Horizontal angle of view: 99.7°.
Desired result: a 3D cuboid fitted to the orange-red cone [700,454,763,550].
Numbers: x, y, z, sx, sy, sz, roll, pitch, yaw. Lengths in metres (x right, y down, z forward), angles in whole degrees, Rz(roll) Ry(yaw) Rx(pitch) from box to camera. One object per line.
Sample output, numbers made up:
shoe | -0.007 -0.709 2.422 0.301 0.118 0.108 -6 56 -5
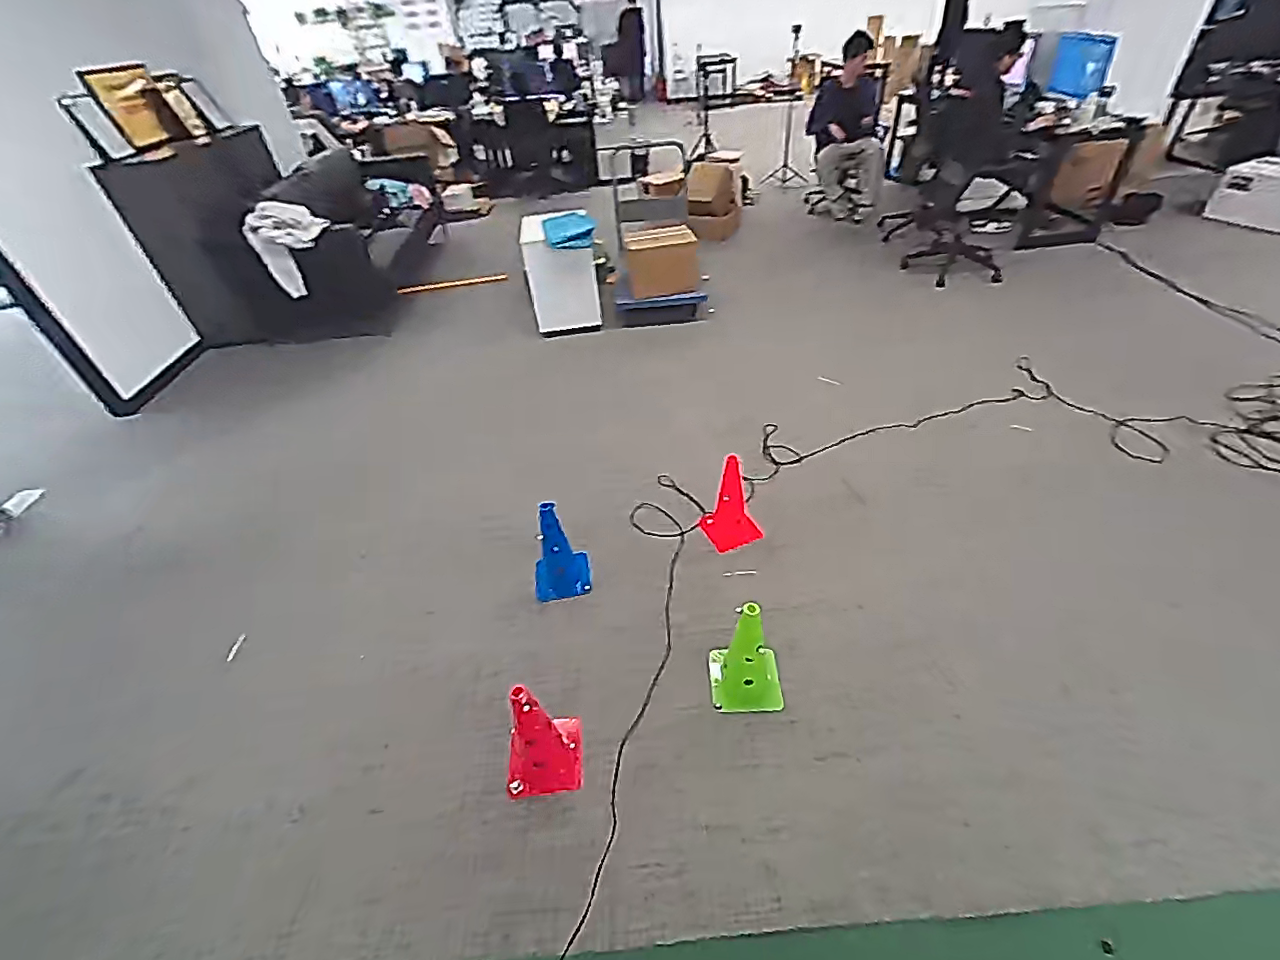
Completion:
orange-red cone | 0.339 0.054 1.978 0.198 0.360 0.199 -18 44 -12

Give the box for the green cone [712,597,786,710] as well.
green cone | 0.310 0.459 1.507 0.200 0.368 0.202 -4 40 2
